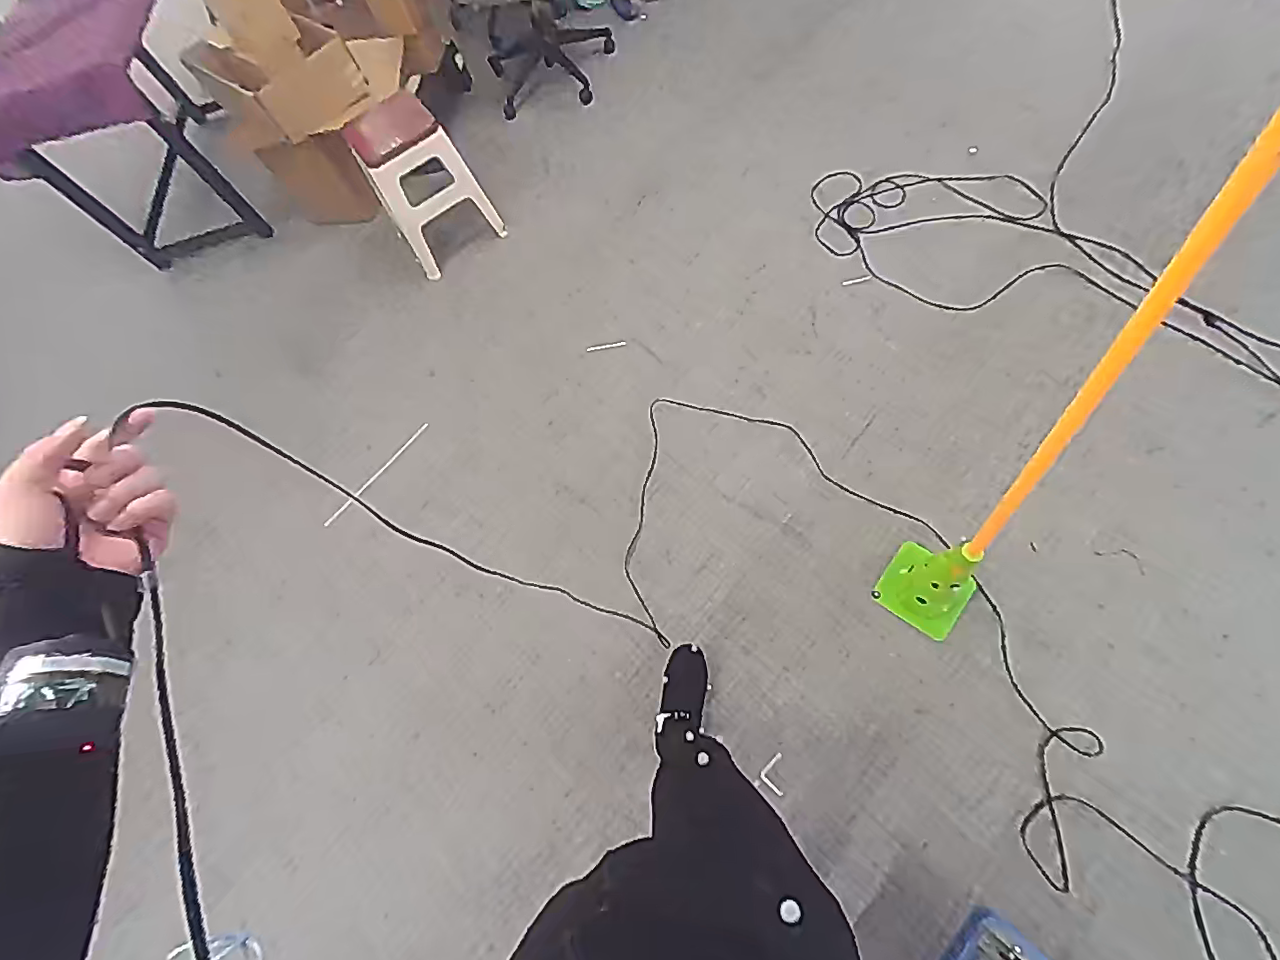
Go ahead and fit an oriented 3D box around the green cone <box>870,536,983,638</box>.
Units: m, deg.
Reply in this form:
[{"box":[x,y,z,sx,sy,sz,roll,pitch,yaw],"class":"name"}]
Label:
[{"box":[0.704,0.211,1.254,0.200,0.368,0.202,33,75,22],"class":"green cone"}]
